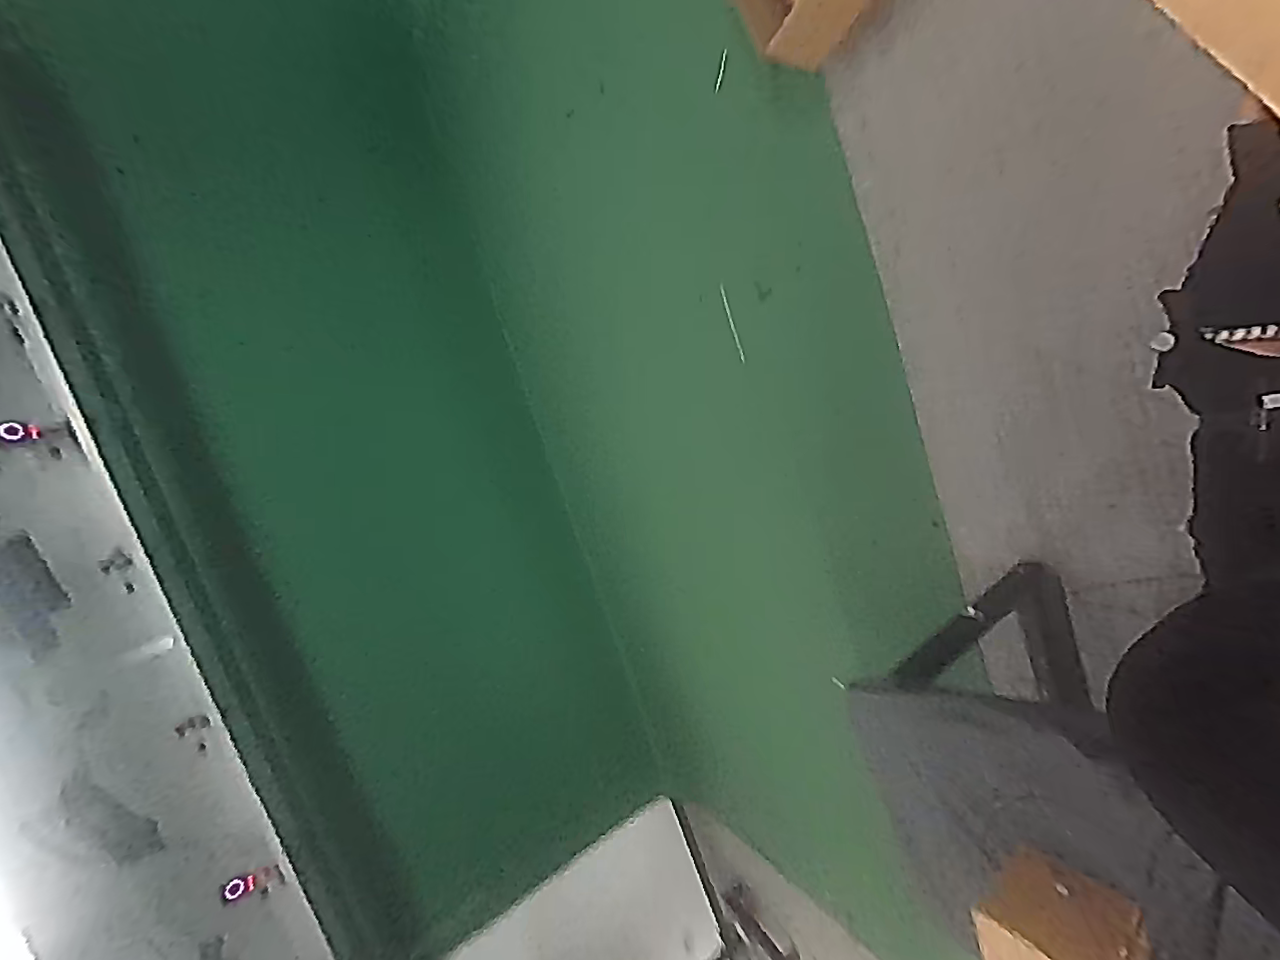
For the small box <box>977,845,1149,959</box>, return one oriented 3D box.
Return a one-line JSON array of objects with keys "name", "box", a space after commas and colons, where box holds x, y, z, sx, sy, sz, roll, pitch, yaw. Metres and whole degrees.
[{"name": "small box", "box": [0.680, 0.747, 0.863, 0.168, 0.176, 0.179, 0, 110, 60]}]
